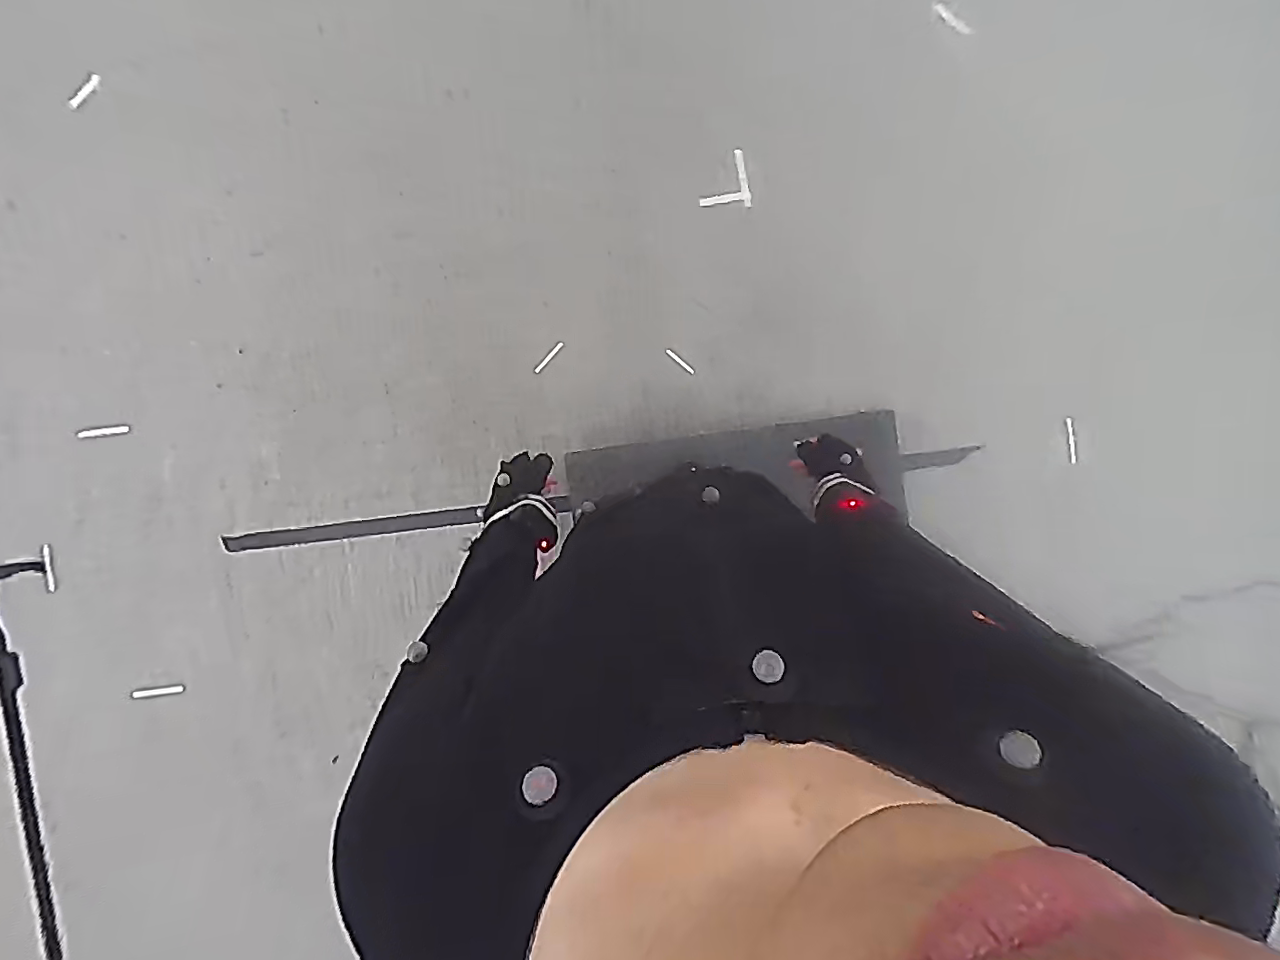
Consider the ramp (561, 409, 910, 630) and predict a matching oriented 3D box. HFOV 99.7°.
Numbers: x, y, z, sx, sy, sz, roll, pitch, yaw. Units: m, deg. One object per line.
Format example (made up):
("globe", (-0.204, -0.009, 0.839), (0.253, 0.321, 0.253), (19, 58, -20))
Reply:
("ramp", (0.301, 0.093, 1.556), (0.991, 0.206, 0.509), (-10, 90, -1))
